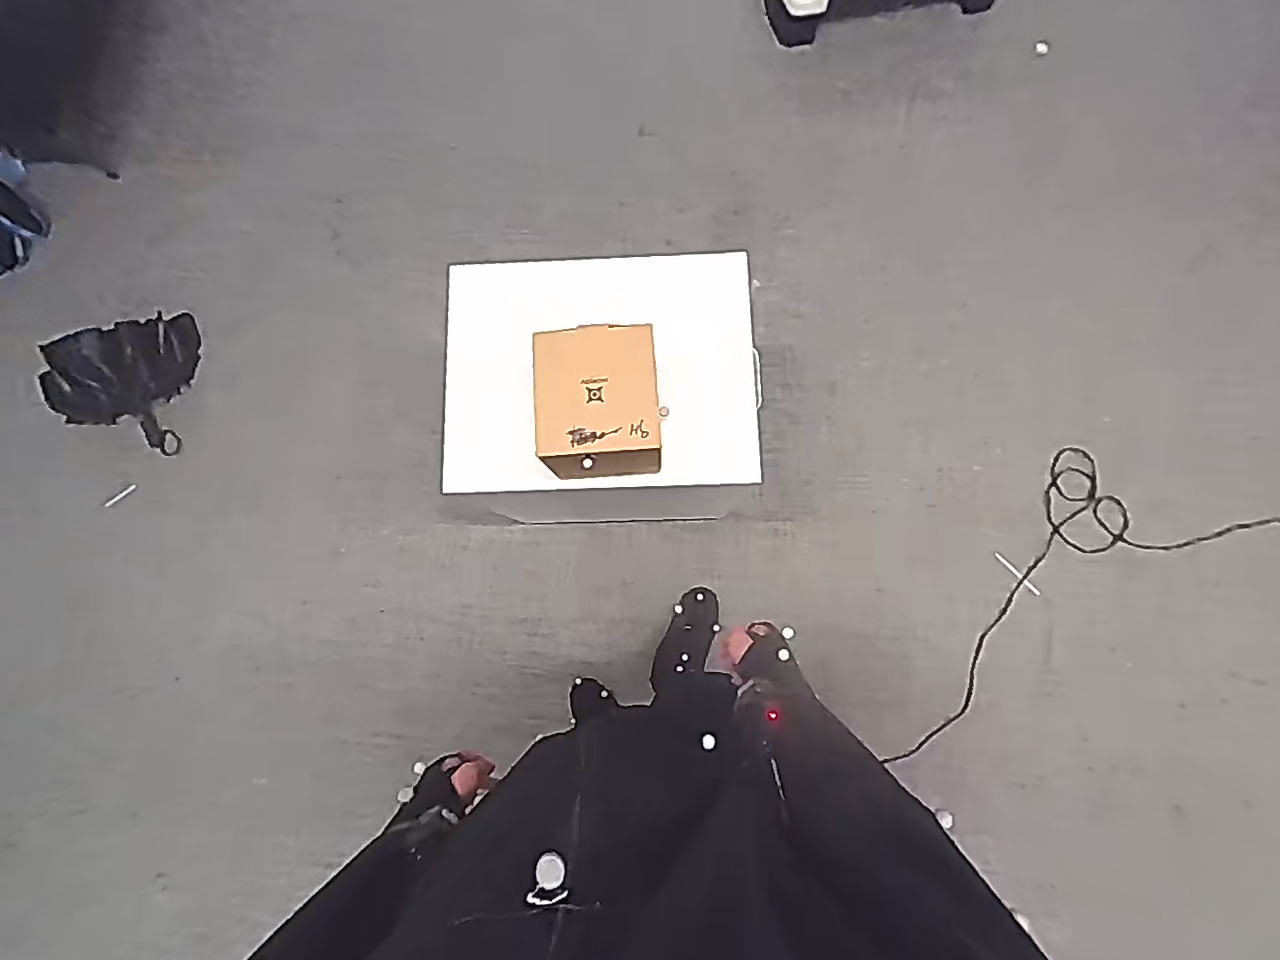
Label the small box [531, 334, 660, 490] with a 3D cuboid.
[{"bbox_3d":[-0.061,-0.091,0.794,0.168,0.176,0.179,-5,78,1],"label":"small box"}]
